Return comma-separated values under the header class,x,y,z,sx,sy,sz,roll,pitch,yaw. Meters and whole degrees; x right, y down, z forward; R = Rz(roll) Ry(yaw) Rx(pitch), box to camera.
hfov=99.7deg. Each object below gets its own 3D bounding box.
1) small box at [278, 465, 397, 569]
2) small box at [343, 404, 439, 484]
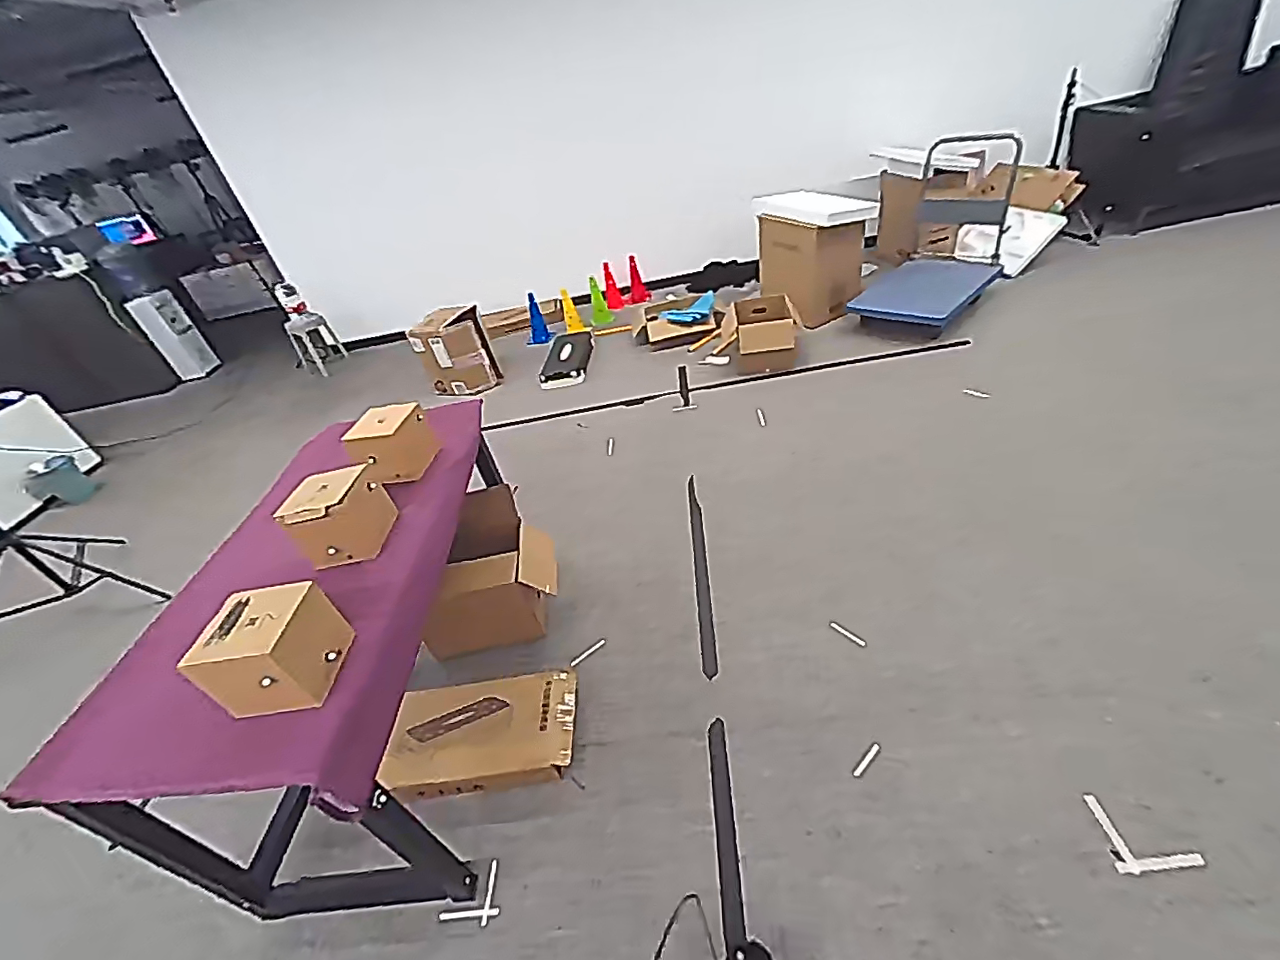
class,x,y,z,sx,sy,sz,roll,pitch,yaw
small box,-0.735,0.092,1.339,0.168,0.176,0.179,-12,36,7
small box,-0.721,-0.101,1.592,0.168,0.176,0.179,-6,37,11
